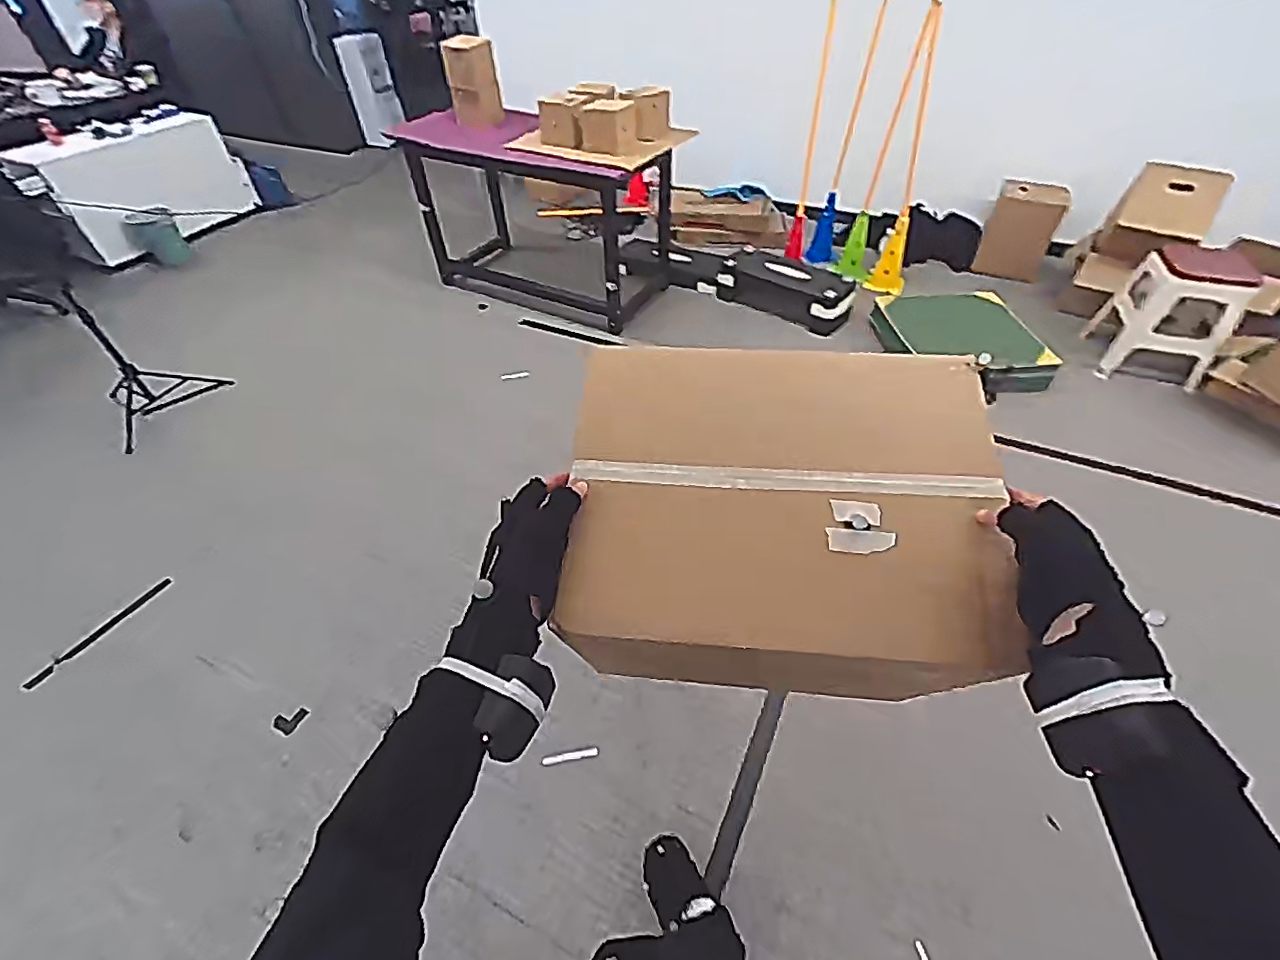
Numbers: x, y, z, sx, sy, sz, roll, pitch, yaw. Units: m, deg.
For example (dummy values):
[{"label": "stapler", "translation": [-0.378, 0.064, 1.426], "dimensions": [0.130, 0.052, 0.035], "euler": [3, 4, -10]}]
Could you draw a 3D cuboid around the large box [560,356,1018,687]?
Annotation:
[{"label": "large box", "translation": [0.141, 0.067, 0.669], "dimensions": [0.408, 0.320, 0.320], "euler": [3, 65, 5]}]
